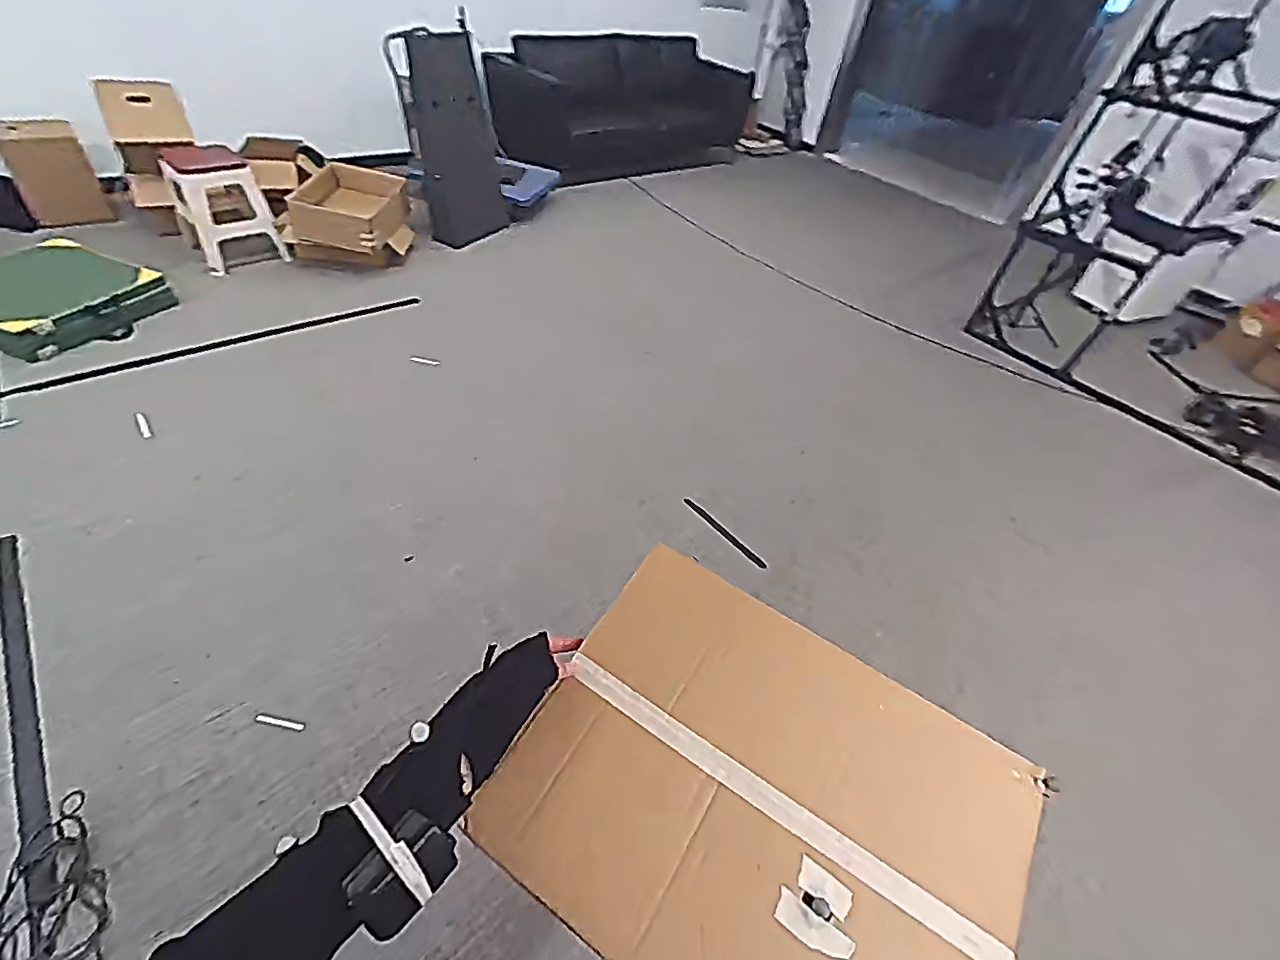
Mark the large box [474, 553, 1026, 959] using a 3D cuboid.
[{"bbox_3d":[0.097,0.355,0.590,0.408,0.320,0.320,30,59,16],"label":"large box"}]
